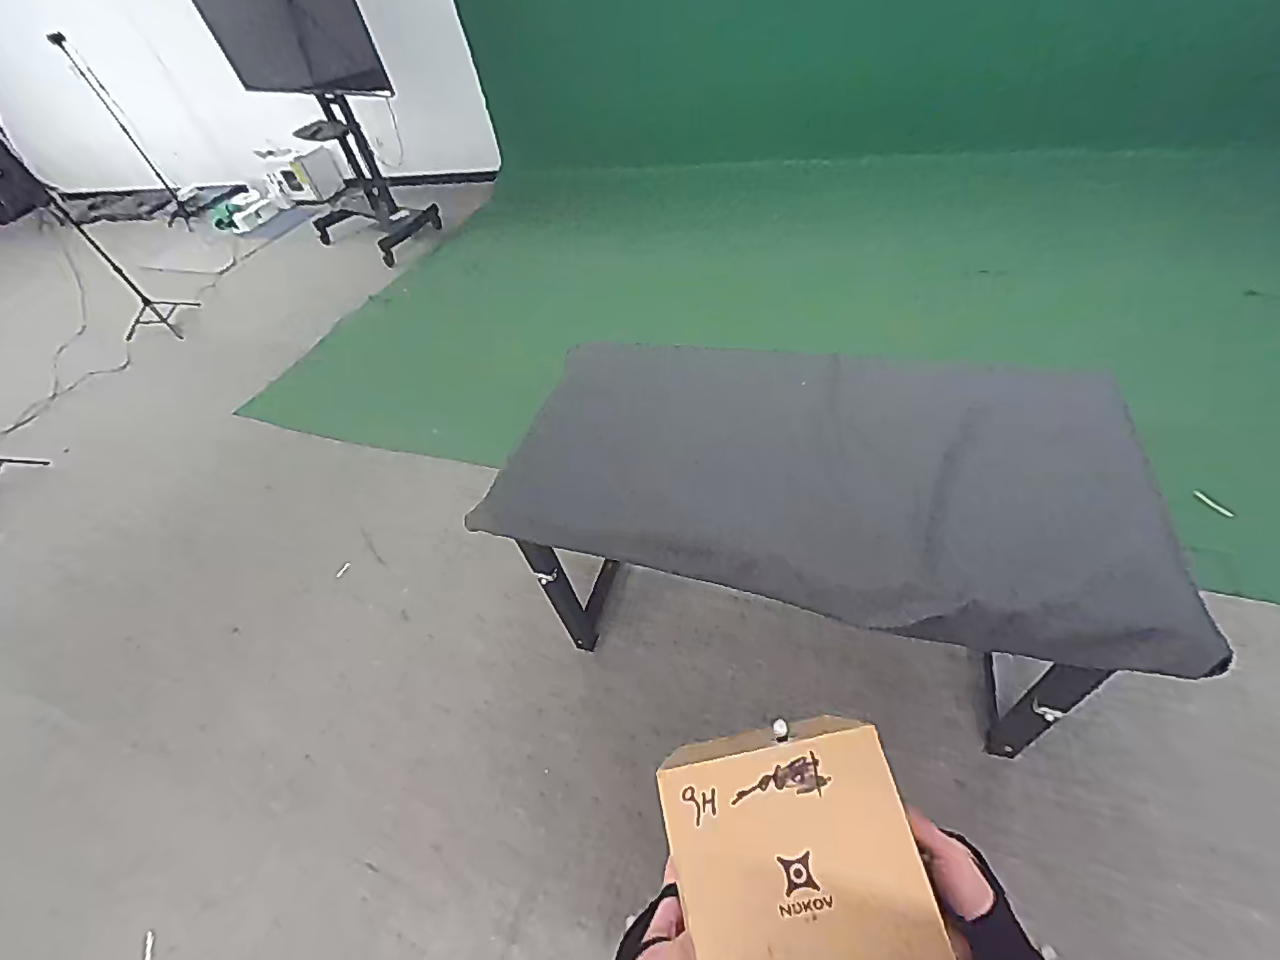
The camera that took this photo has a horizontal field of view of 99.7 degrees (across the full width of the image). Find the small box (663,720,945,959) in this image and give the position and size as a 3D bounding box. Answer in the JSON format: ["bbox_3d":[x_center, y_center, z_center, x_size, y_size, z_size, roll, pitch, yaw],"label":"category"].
[{"bbox_3d":[0.123,0.312,0.448,0.168,0.176,0.179,-13,69,3],"label":"small box"}]
